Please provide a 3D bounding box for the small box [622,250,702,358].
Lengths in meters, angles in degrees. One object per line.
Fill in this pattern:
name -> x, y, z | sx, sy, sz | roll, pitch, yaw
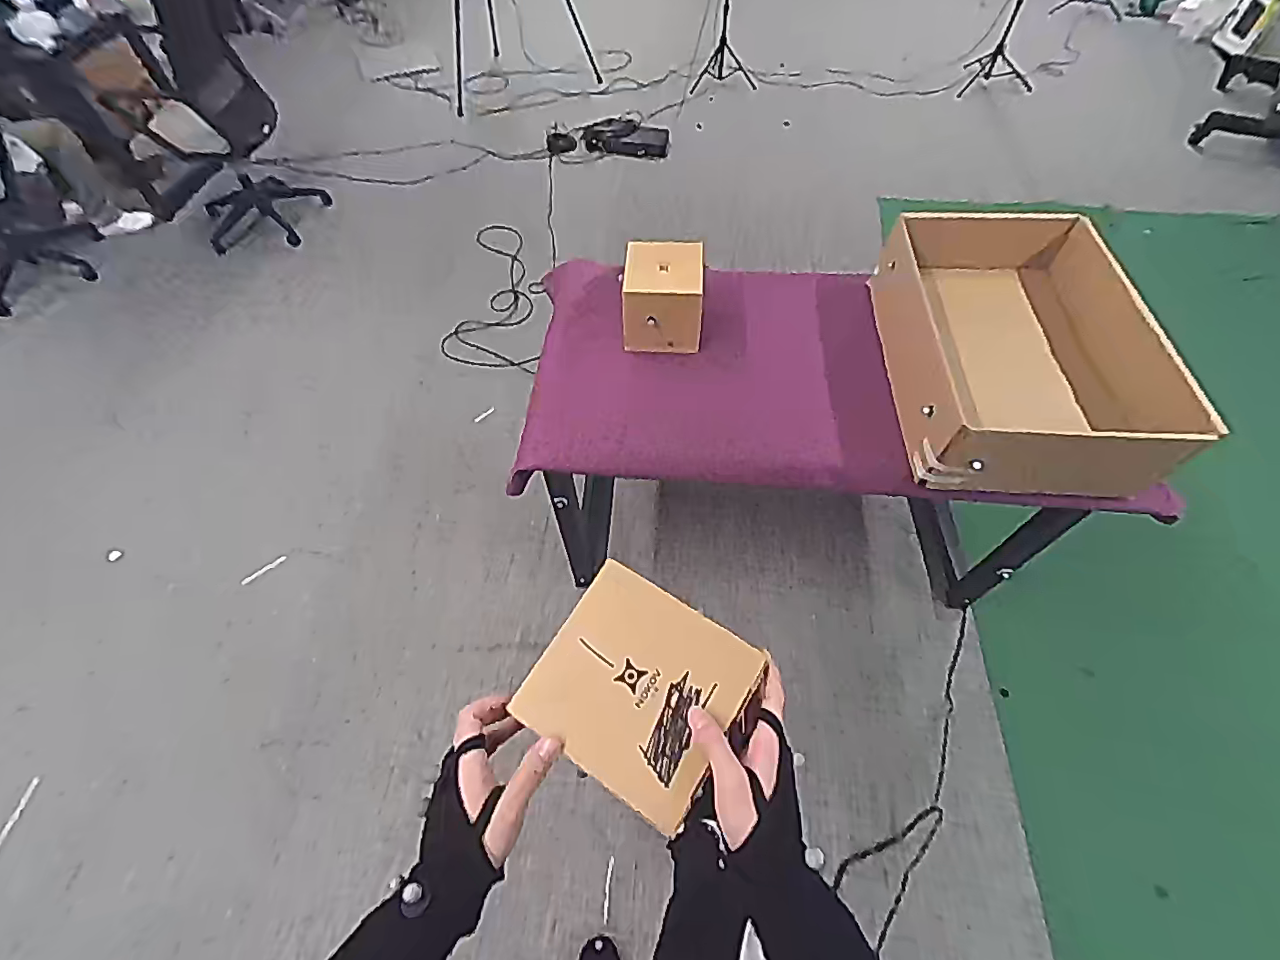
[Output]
small box -> 0.052, -0.391, 1.211 | 0.168, 0.176, 0.179 | 2, 55, 3
